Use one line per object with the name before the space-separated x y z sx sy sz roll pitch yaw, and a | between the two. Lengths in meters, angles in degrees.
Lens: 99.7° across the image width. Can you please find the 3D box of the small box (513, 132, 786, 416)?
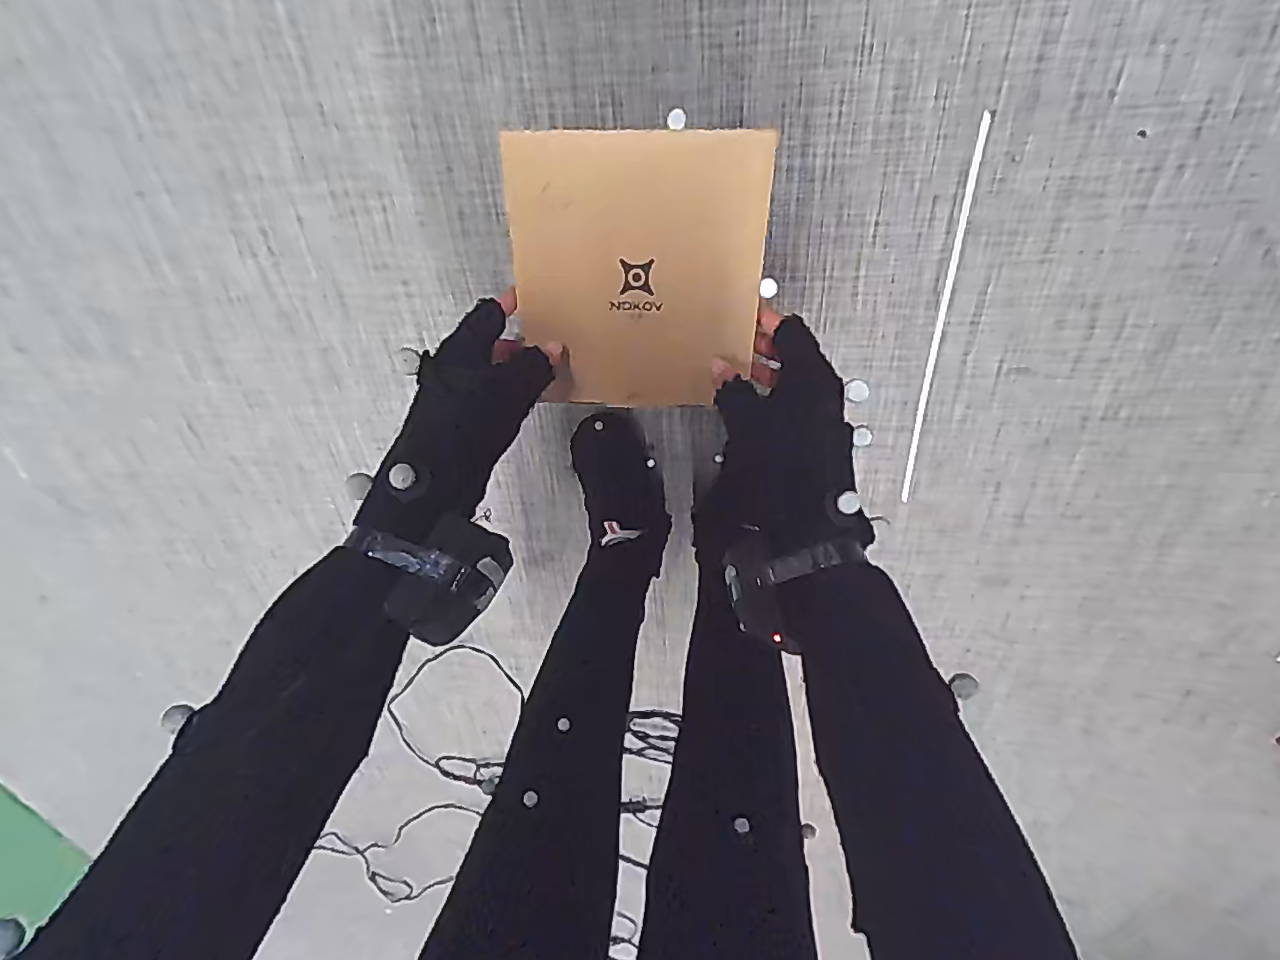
small box | 0.007 -0.165 0.427 0.168 0.176 0.179 2 121 3
